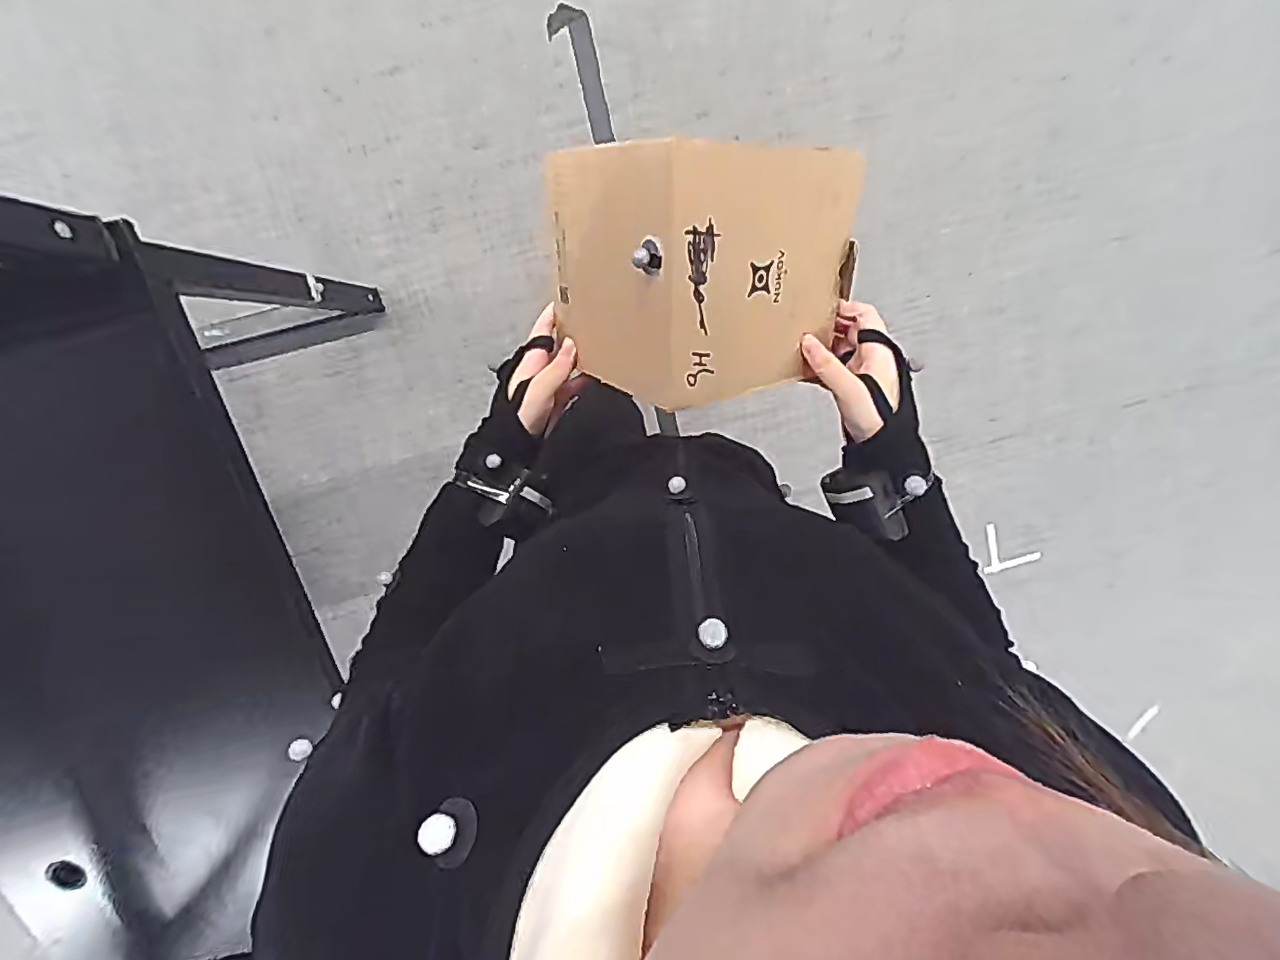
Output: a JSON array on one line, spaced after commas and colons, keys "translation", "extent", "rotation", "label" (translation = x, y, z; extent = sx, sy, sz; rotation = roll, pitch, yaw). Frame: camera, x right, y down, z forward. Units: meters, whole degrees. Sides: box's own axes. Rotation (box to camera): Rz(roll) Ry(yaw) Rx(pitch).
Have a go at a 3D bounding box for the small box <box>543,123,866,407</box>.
[{"translation": [0.042, -0.172, 0.430], "extent": [0.179, 0.176, 0.168], "rotation": [-17, 121, -32], "label": "small box"}]
